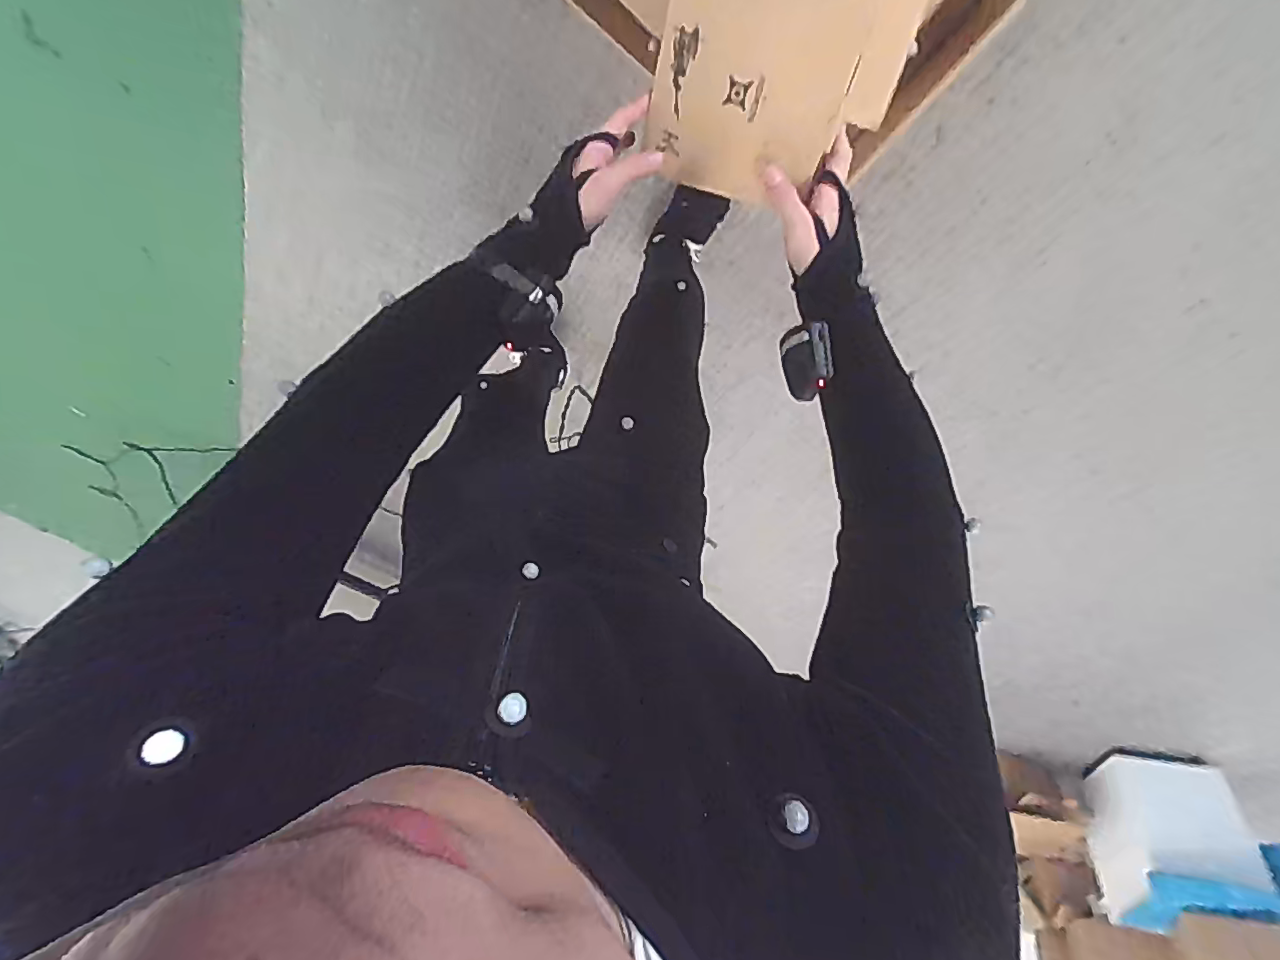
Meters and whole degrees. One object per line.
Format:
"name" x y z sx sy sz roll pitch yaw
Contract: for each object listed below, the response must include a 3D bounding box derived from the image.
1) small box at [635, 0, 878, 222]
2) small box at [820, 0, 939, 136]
"small box" 0.108 -0.389 0.554 0.179 0.176 0.168 16 127 -1
"small box" 0.271 -0.586 0.706 0.168 0.176 0.179 14 138 3
